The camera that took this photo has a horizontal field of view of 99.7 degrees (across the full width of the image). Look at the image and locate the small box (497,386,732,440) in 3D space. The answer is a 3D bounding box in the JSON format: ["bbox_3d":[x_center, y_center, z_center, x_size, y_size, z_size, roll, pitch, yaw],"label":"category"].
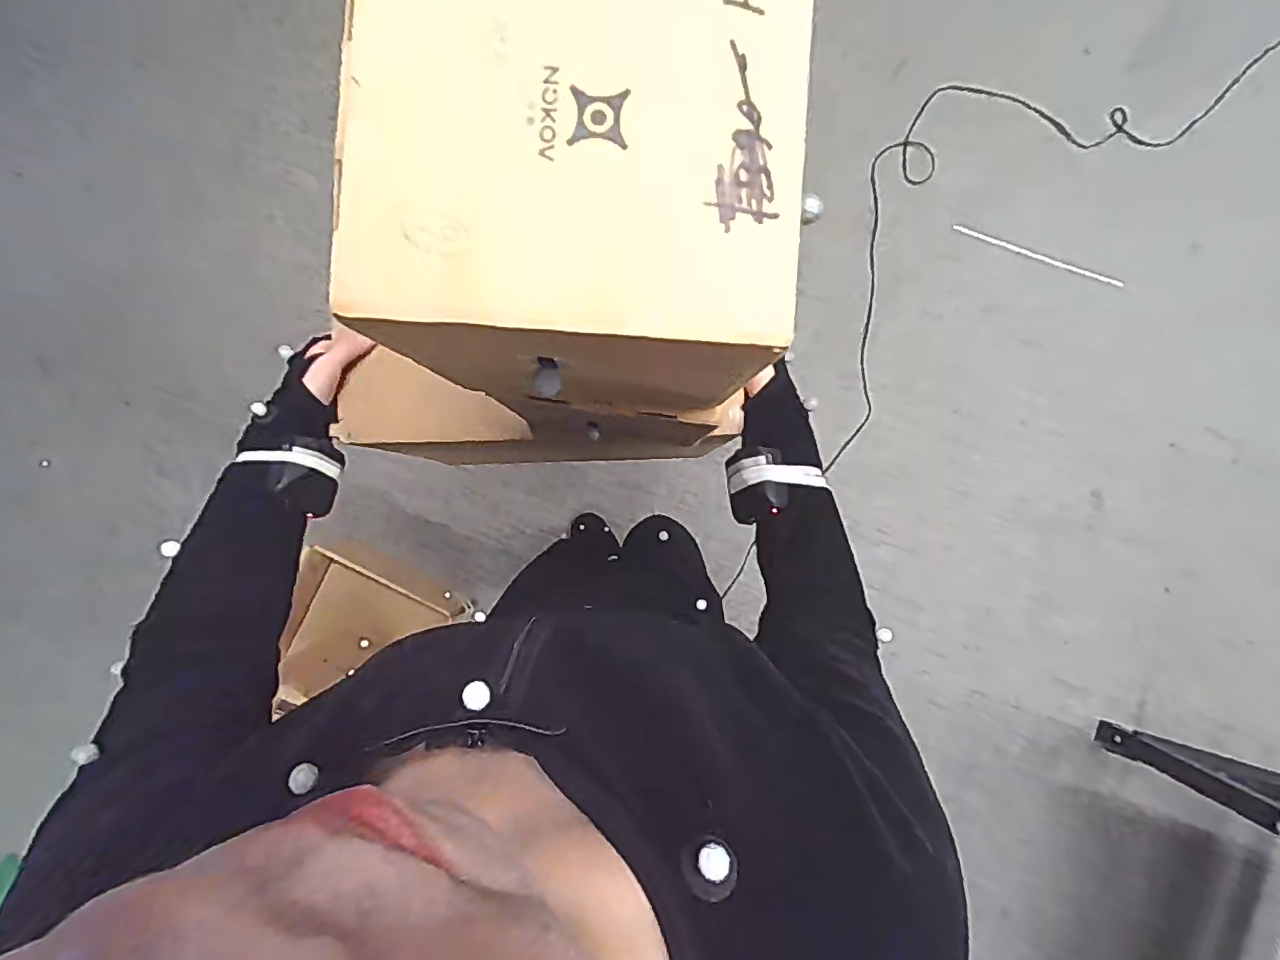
[{"bbox_3d":[-0.010,-0.134,0.448,0.168,0.176,0.179,8,91,-1],"label":"small box"}]

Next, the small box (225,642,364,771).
[{"bbox_3d":[-0.747,0.487,1.193,0.168,0.176,0.179,28,91,0],"label":"small box"}]

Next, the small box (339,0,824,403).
[{"bbox_3d":[-0.021,-0.136,0.283,0.179,0.176,0.168,4,91,0],"label":"small box"}]
